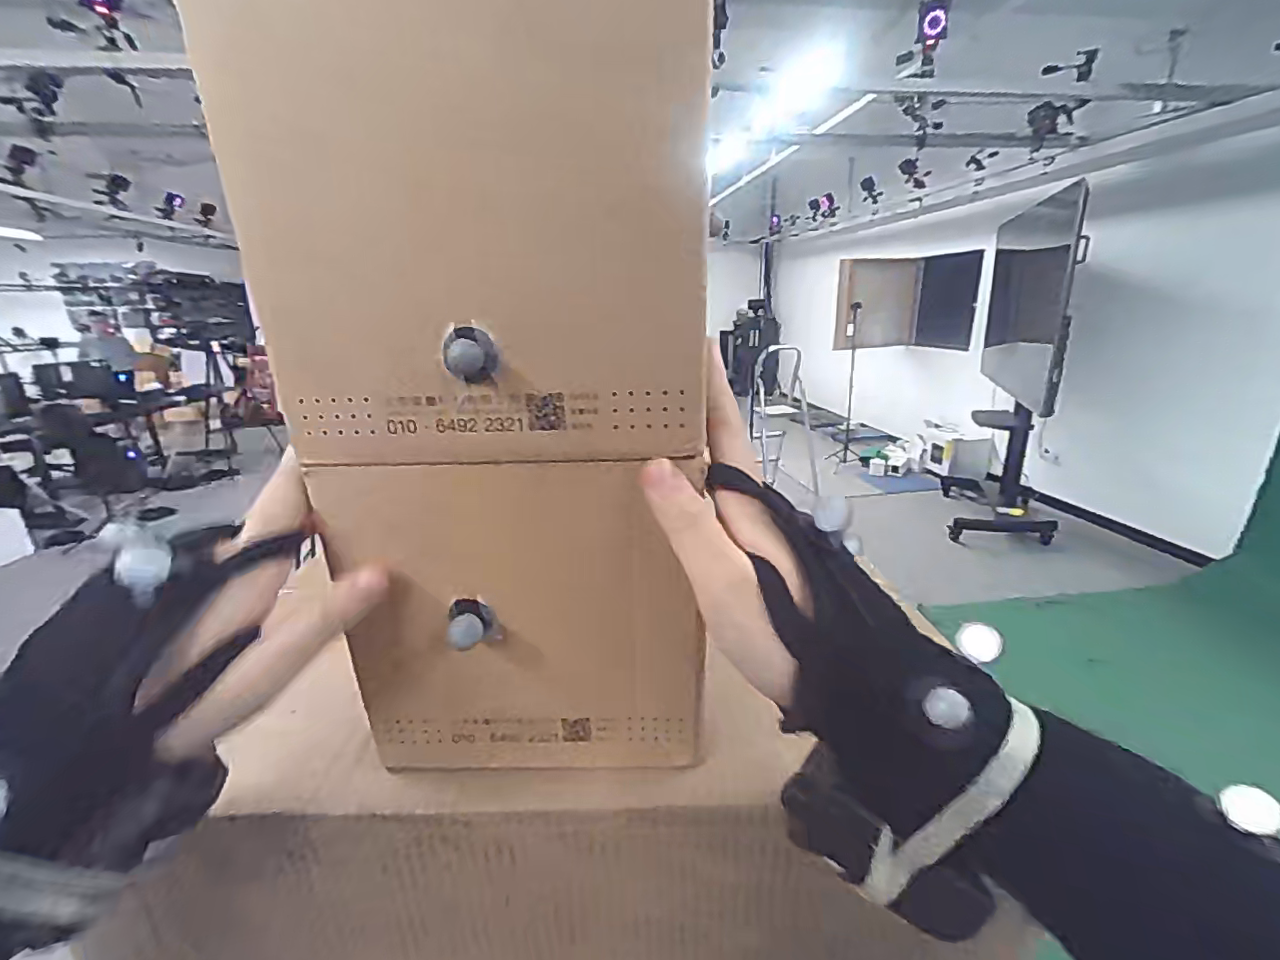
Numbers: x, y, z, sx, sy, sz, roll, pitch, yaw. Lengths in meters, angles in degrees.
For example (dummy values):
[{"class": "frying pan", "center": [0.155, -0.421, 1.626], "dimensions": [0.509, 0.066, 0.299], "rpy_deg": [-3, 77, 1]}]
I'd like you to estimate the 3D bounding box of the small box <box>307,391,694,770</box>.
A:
[{"class": "small box", "center": [-0.054, 0.048, 0.329], "dimensions": [0.168, 0.176, 0.179], "rpy_deg": [-1, 20, 1]}]
